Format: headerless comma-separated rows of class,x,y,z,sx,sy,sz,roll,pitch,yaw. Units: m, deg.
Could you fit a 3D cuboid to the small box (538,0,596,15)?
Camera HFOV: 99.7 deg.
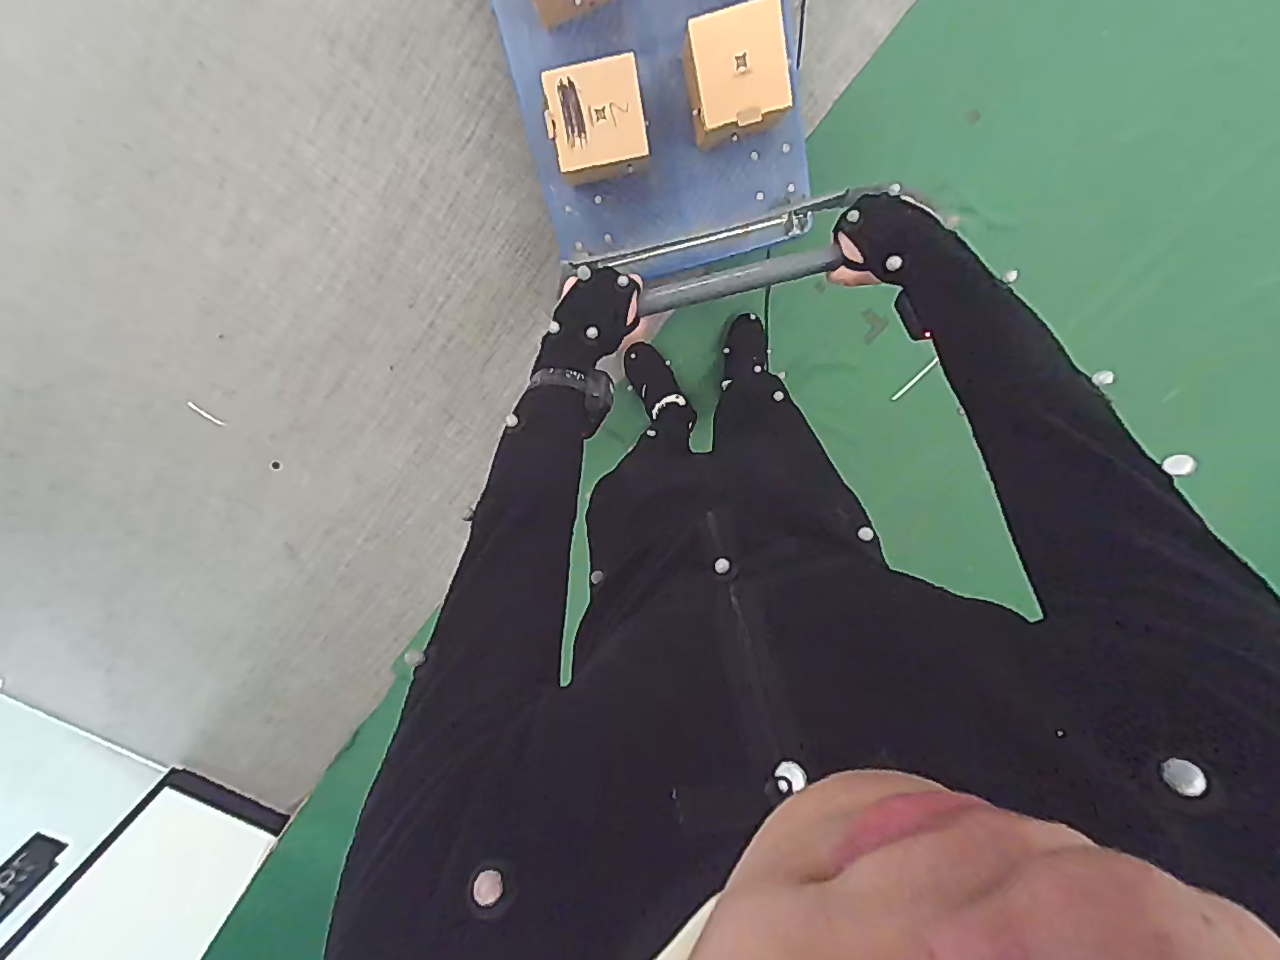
small box,-0.136,-0.979,0.965,0.168,0.176,0.179,-18,111,6

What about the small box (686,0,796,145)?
small box,0.189,-0.781,1.045,0.168,0.176,0.179,-13,112,5
